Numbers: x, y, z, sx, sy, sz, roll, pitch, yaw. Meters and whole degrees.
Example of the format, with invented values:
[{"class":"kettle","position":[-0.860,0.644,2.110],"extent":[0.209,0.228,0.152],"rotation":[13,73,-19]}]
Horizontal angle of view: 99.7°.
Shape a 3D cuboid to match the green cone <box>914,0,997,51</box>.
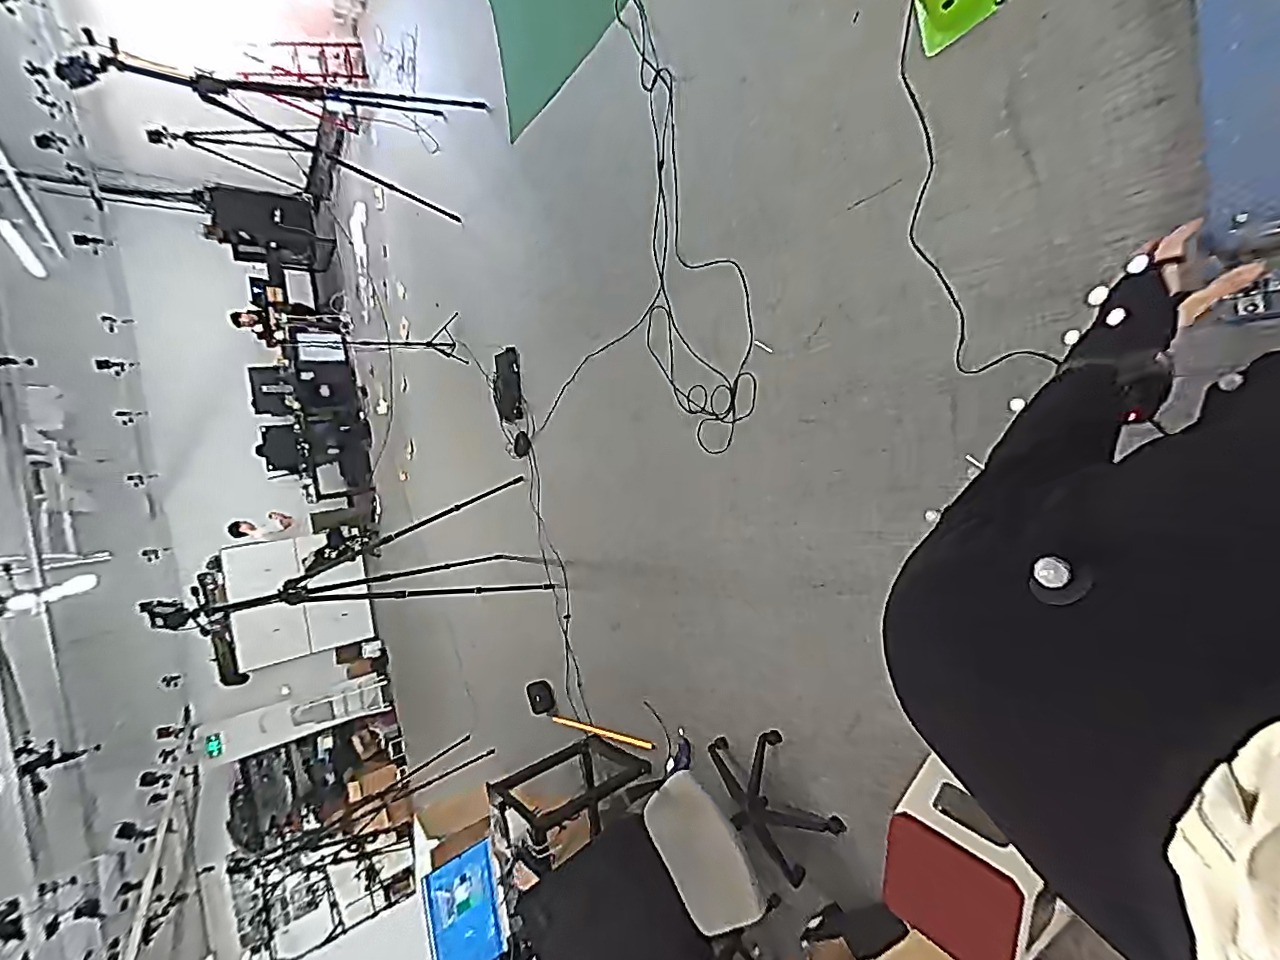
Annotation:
[{"class":"green cone","position":[0.688,-1.255,1.311],"extent":[0.202,0.368,0.200],"rotation":[-13,87,55]}]
